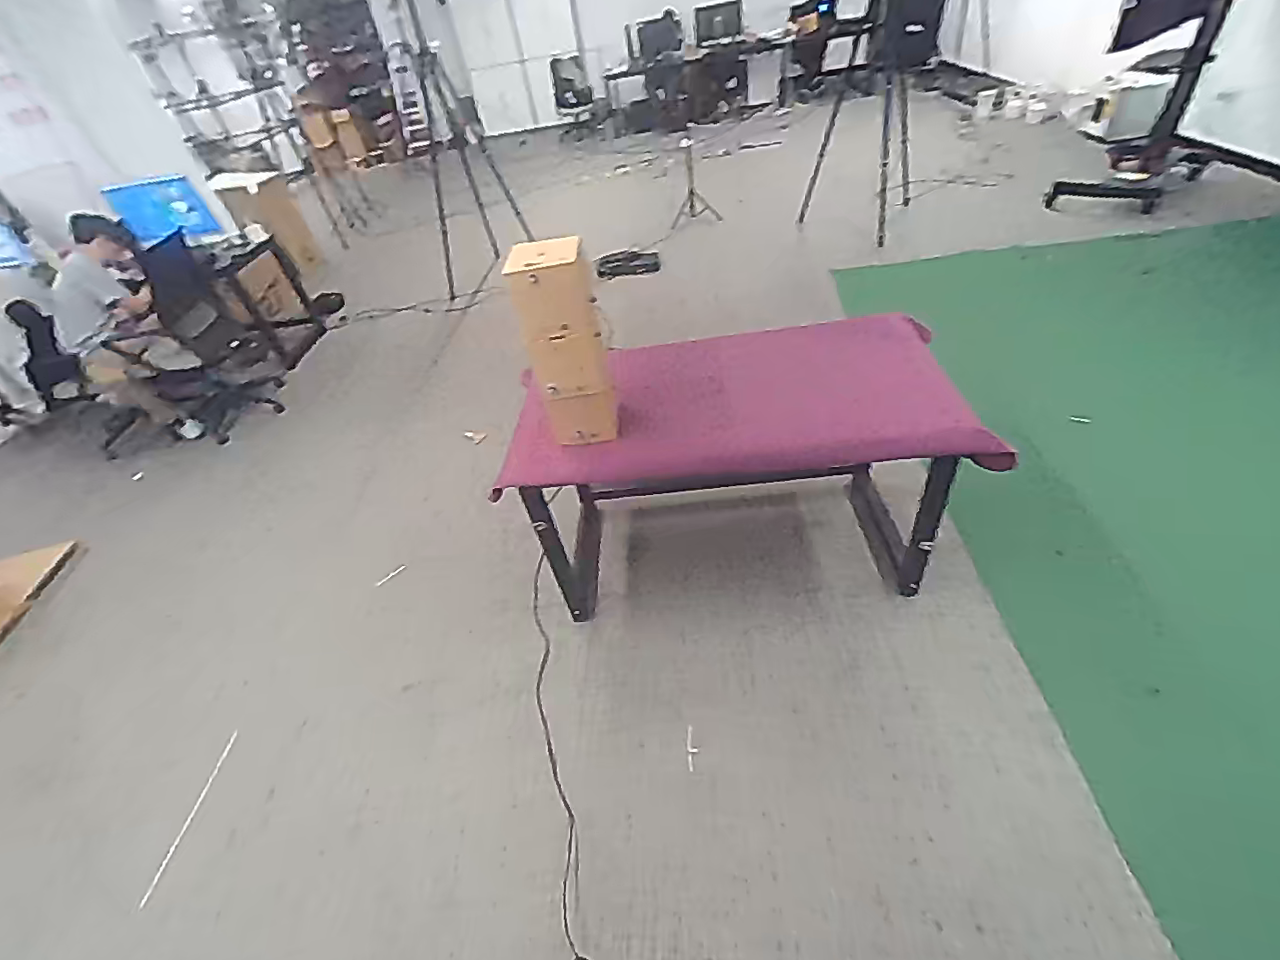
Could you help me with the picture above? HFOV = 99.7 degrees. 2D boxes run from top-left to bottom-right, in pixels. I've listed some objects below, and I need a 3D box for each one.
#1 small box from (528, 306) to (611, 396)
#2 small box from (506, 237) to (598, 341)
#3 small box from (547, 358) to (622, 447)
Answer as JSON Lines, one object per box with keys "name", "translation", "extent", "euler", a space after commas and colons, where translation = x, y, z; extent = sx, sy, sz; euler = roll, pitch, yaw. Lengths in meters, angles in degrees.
{"name": "small box", "translation": [-0.173, -0.327, 1.386], "extent": [0.168, 0.176, 0.179], "euler": [-7, 41, 7]}
{"name": "small box", "translation": [-0.199, -0.451, 1.282], "extent": [0.168, 0.176, 0.179], "euler": [-8, 41, 7]}
{"name": "small box", "translation": [-0.146, -0.214, 1.501], "extent": [0.168, 0.176, 0.179], "euler": [-7, 43, 7]}
